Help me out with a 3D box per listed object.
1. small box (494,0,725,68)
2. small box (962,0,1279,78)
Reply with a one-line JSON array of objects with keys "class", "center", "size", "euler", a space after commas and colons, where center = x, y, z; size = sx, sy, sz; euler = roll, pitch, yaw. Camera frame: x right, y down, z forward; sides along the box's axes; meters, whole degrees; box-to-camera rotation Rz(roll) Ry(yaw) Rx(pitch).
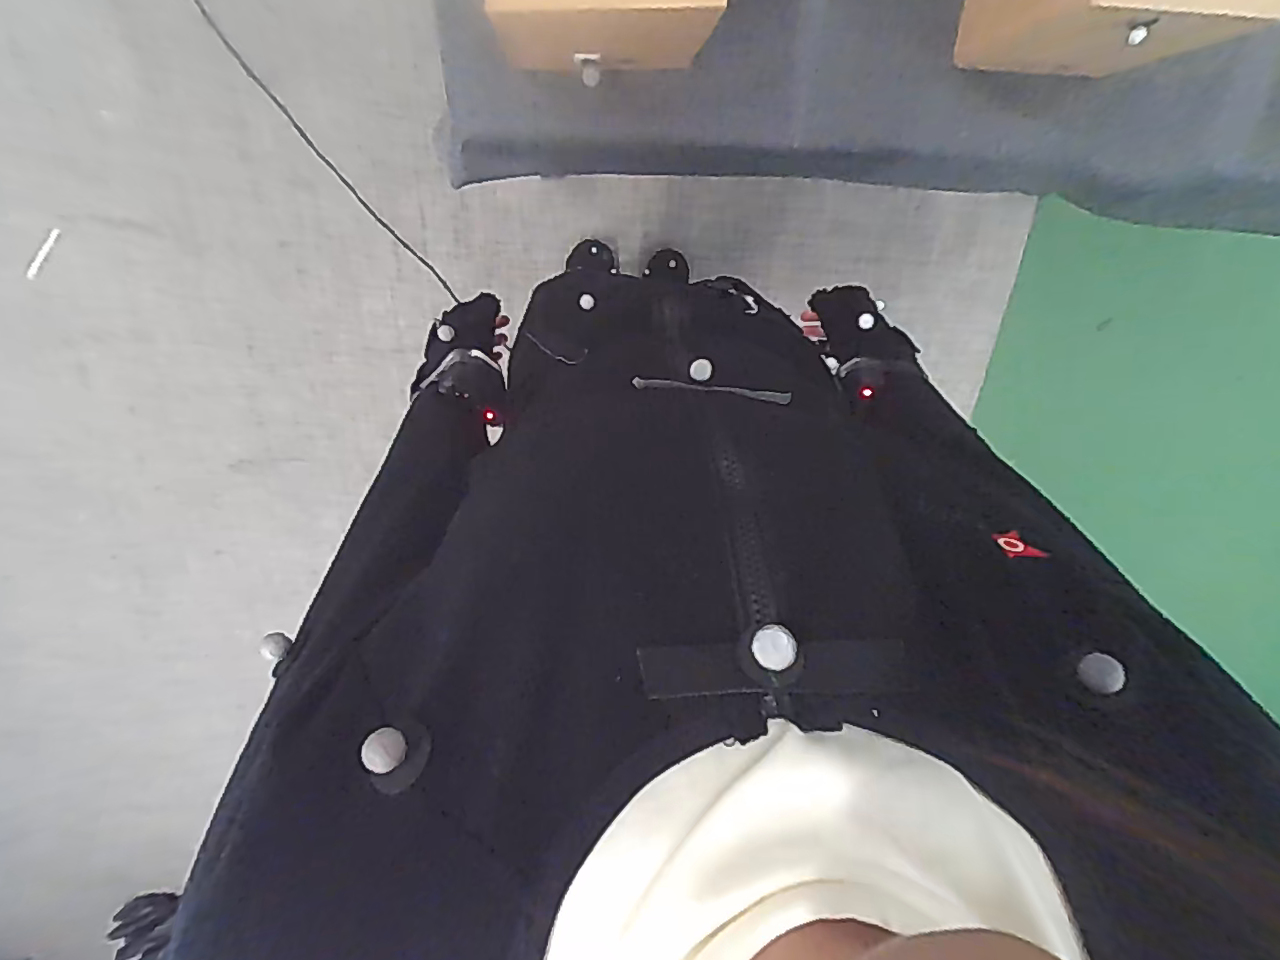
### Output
[{"class": "small box", "center": [-0.029, -0.421, 0.380], "size": [0.168, 0.176, 0.179], "euler": [-1, 116, -3]}, {"class": "small box", "center": [0.396, -0.452, 0.429], "size": [0.168, 0.176, 0.179], "euler": [0, 114, -5]}]
